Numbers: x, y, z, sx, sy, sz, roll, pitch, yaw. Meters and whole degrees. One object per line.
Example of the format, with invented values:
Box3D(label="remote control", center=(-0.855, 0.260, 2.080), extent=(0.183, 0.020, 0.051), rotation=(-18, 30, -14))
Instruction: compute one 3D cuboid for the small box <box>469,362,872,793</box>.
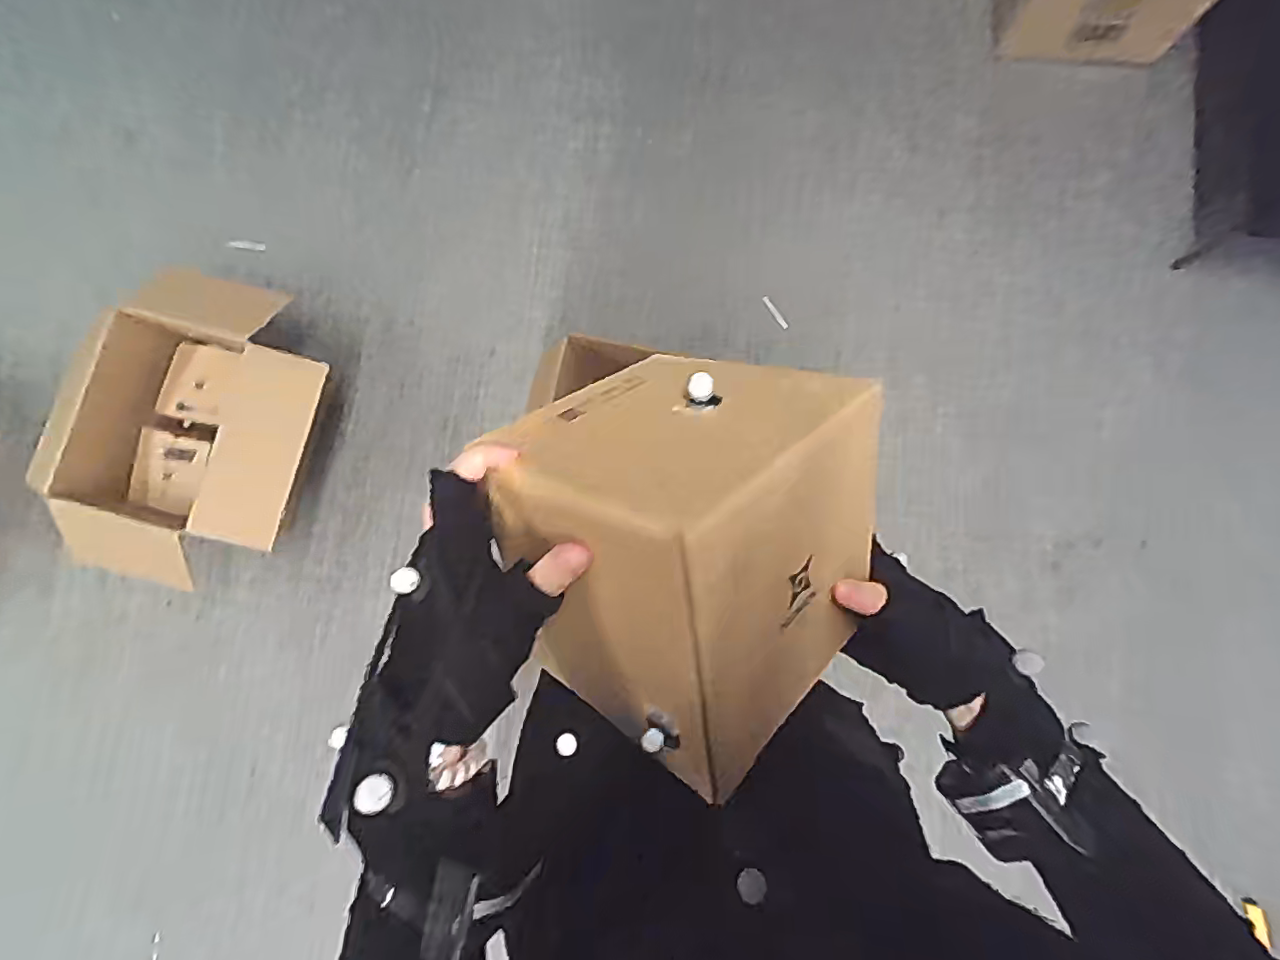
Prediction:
Box3D(label="small box", center=(0.022, 0.035, 0.336), extent=(0.176, 0.179, 0.168), rotation=(21, 43, 40))
